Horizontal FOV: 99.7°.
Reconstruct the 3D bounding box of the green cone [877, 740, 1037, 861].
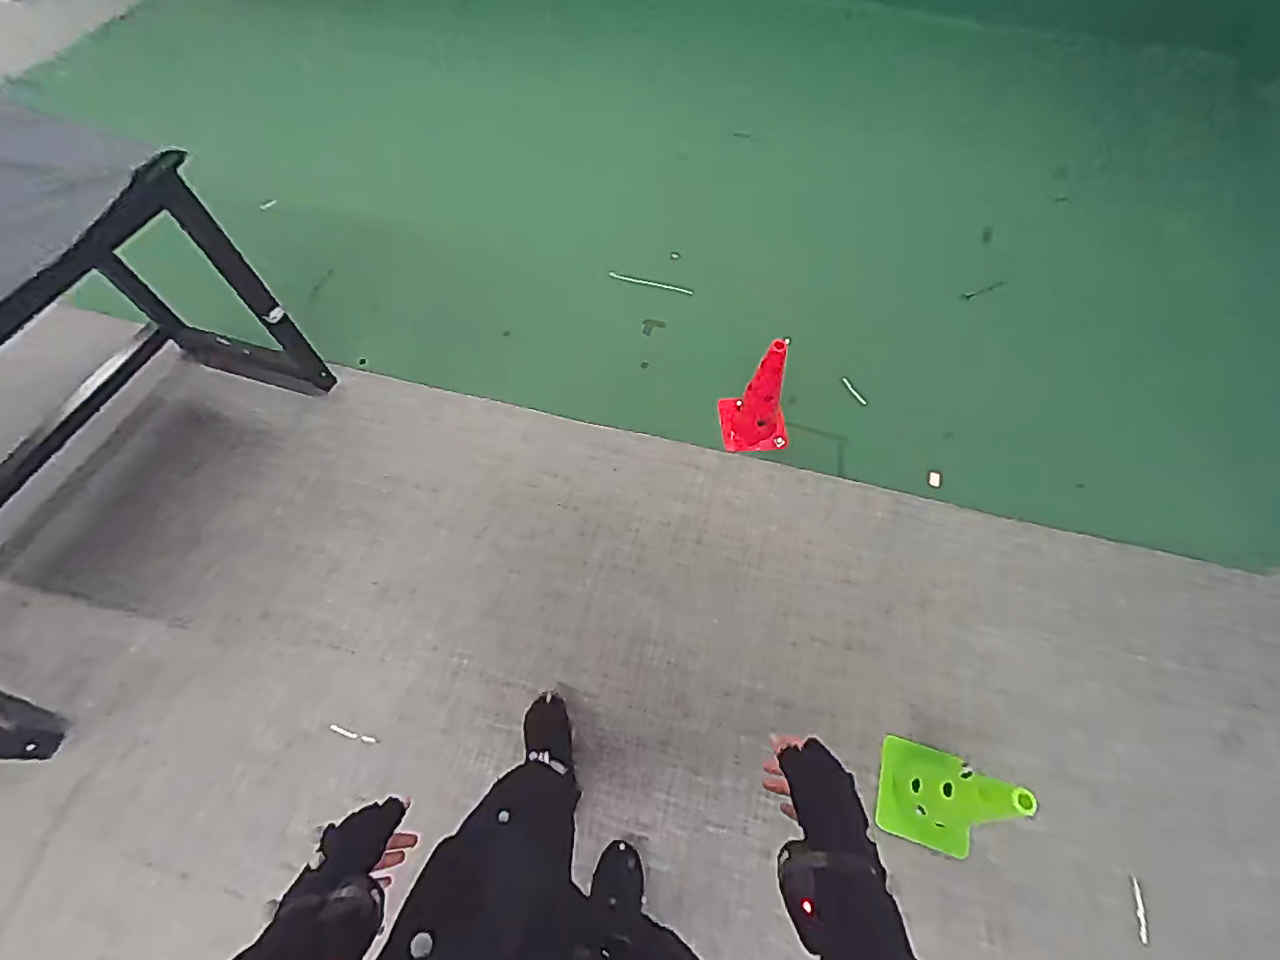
[{"bbox_3d":[0.643,0.632,1.066,0.200,0.368,0.202,16,62,8],"label":"green cone"}]
